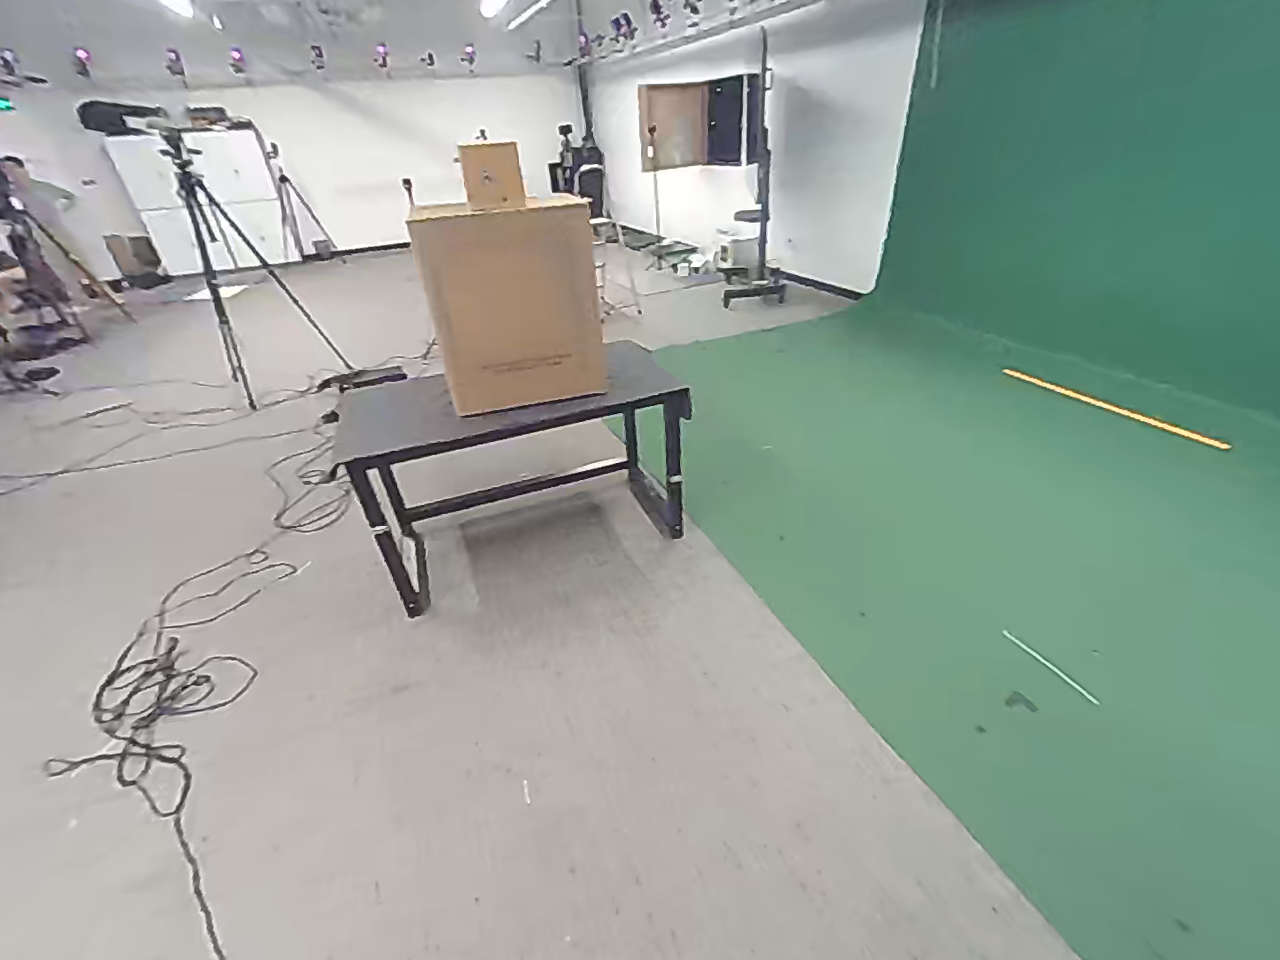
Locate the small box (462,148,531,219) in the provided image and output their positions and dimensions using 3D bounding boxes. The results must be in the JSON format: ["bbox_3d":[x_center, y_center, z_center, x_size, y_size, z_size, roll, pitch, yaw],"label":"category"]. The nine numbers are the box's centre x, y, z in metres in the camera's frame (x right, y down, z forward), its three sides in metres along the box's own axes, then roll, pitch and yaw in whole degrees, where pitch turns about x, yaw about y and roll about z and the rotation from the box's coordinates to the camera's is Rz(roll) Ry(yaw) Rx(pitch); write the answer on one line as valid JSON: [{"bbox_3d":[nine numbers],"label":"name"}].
[{"bbox_3d":[-0.429,-0.888,1.622,0.168,0.176,0.179,-12,35,-13],"label":"small box"}]
